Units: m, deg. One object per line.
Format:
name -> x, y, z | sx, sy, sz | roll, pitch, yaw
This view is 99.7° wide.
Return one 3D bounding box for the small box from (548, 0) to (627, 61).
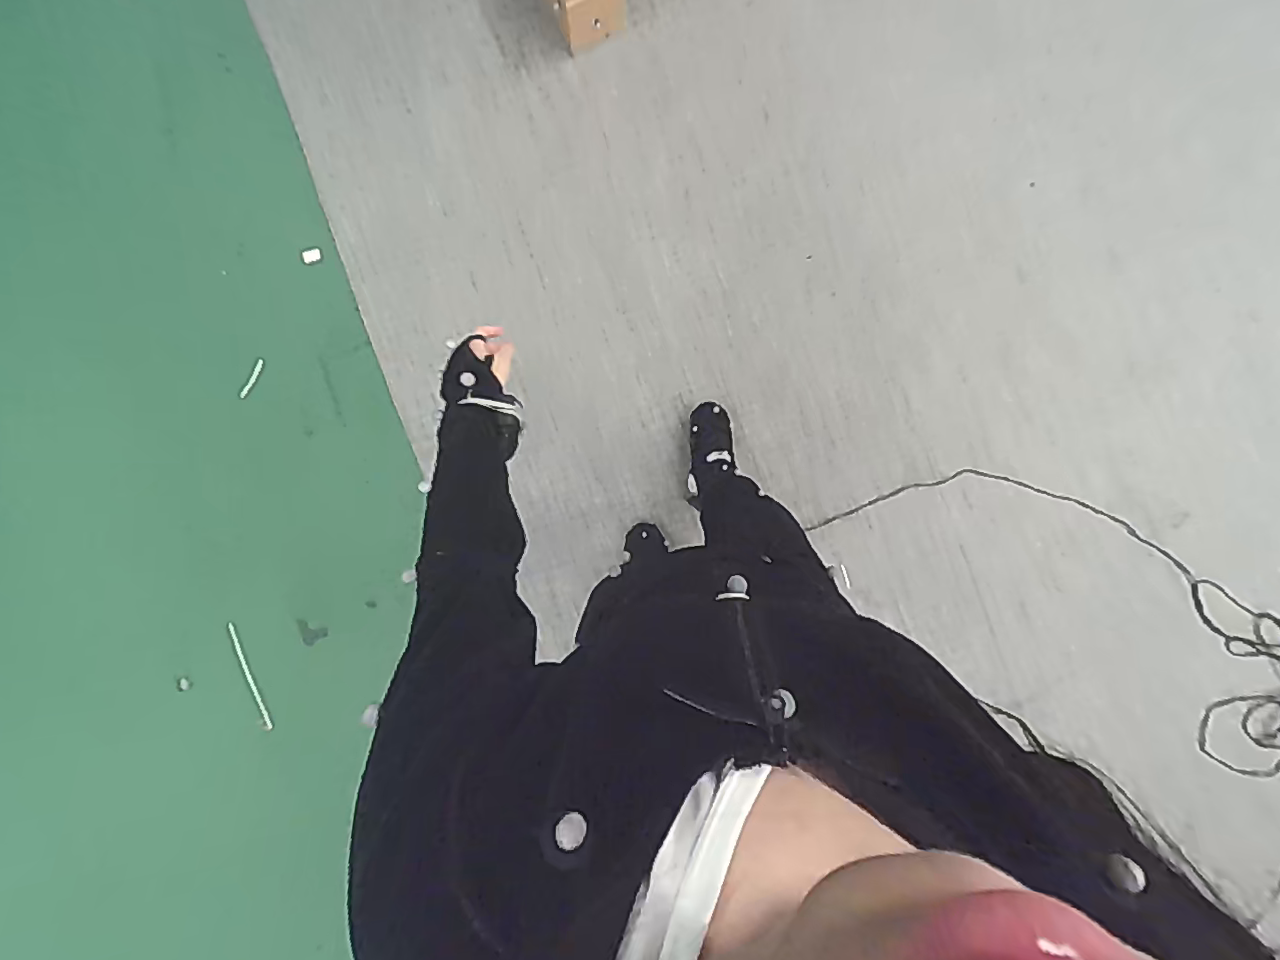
small box -> -0.139, -1.251, 1.413 | 0.168, 0.176, 0.179 | -27, 91, -1
